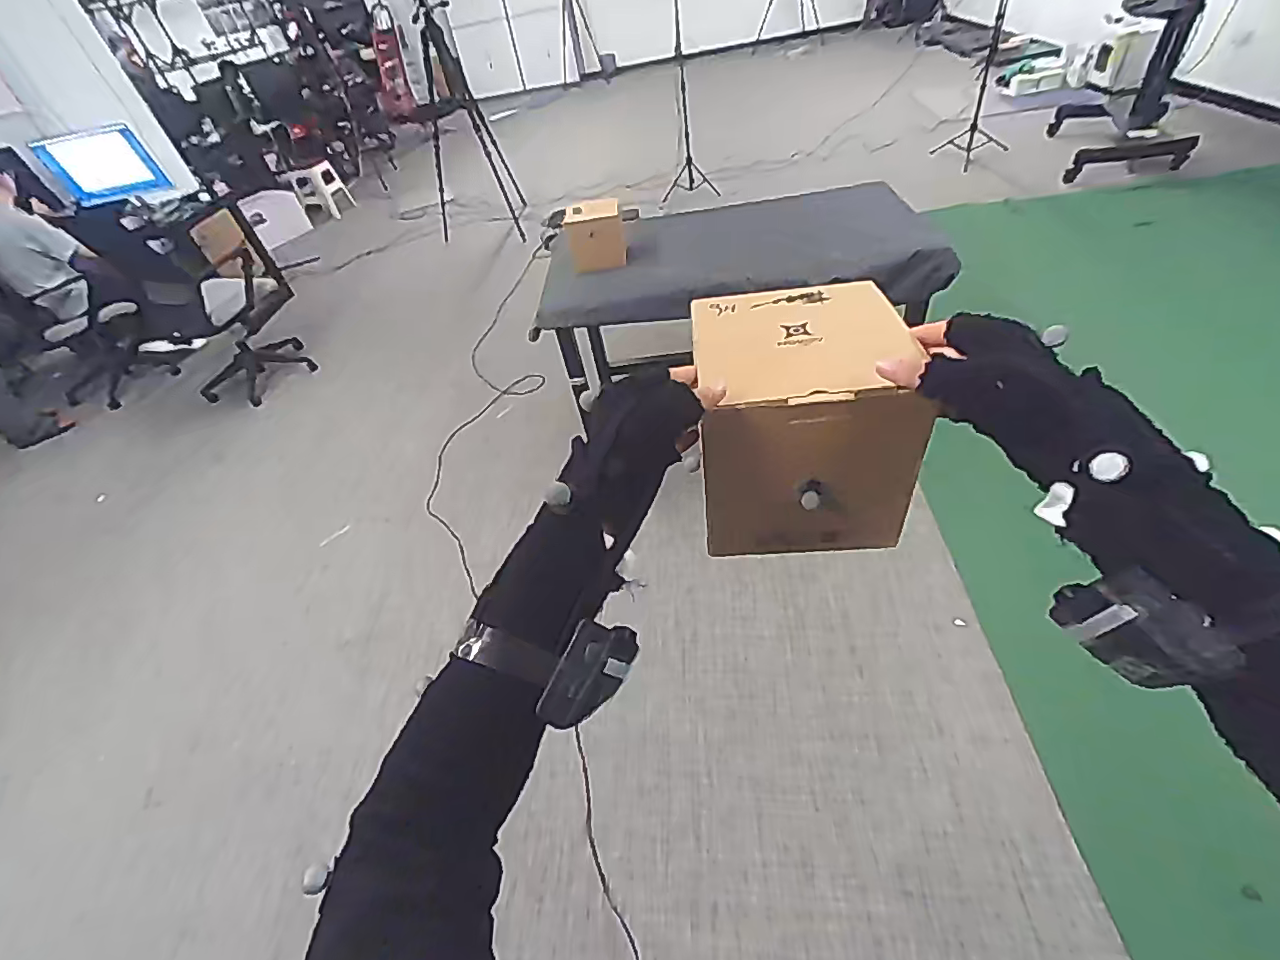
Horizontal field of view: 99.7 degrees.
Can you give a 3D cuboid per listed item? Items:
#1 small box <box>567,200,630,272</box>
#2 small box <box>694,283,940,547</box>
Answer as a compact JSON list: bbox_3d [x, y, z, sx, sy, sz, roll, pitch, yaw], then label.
[{"bbox_3d":[-0.132,-0.807,1.797,0.179,0.176,0.168,-6,45,5],"label":"small box"},{"bbox_3d":[0.138,-0.052,0.486,0.168,0.176,0.179,-4,43,6],"label":"small box"}]
